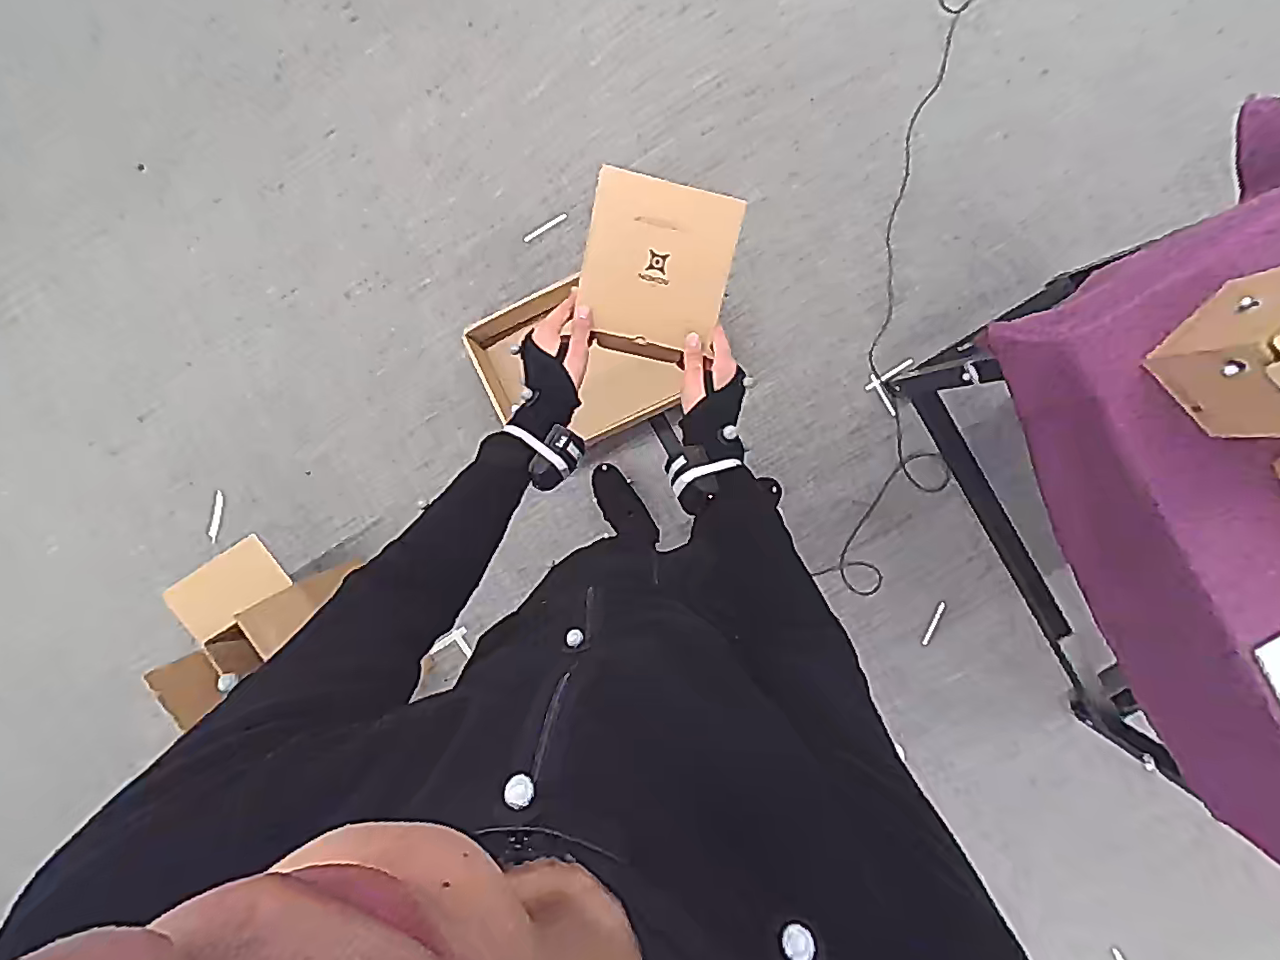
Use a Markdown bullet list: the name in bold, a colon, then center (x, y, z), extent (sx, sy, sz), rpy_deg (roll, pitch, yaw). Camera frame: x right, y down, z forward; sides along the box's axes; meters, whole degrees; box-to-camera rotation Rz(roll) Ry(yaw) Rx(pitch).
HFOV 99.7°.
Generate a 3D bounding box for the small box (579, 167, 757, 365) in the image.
- **small box**: center (0.028, -0.253, 0.675), extent (0.168, 0.176, 0.179), rpy_deg (13, 105, -5)
